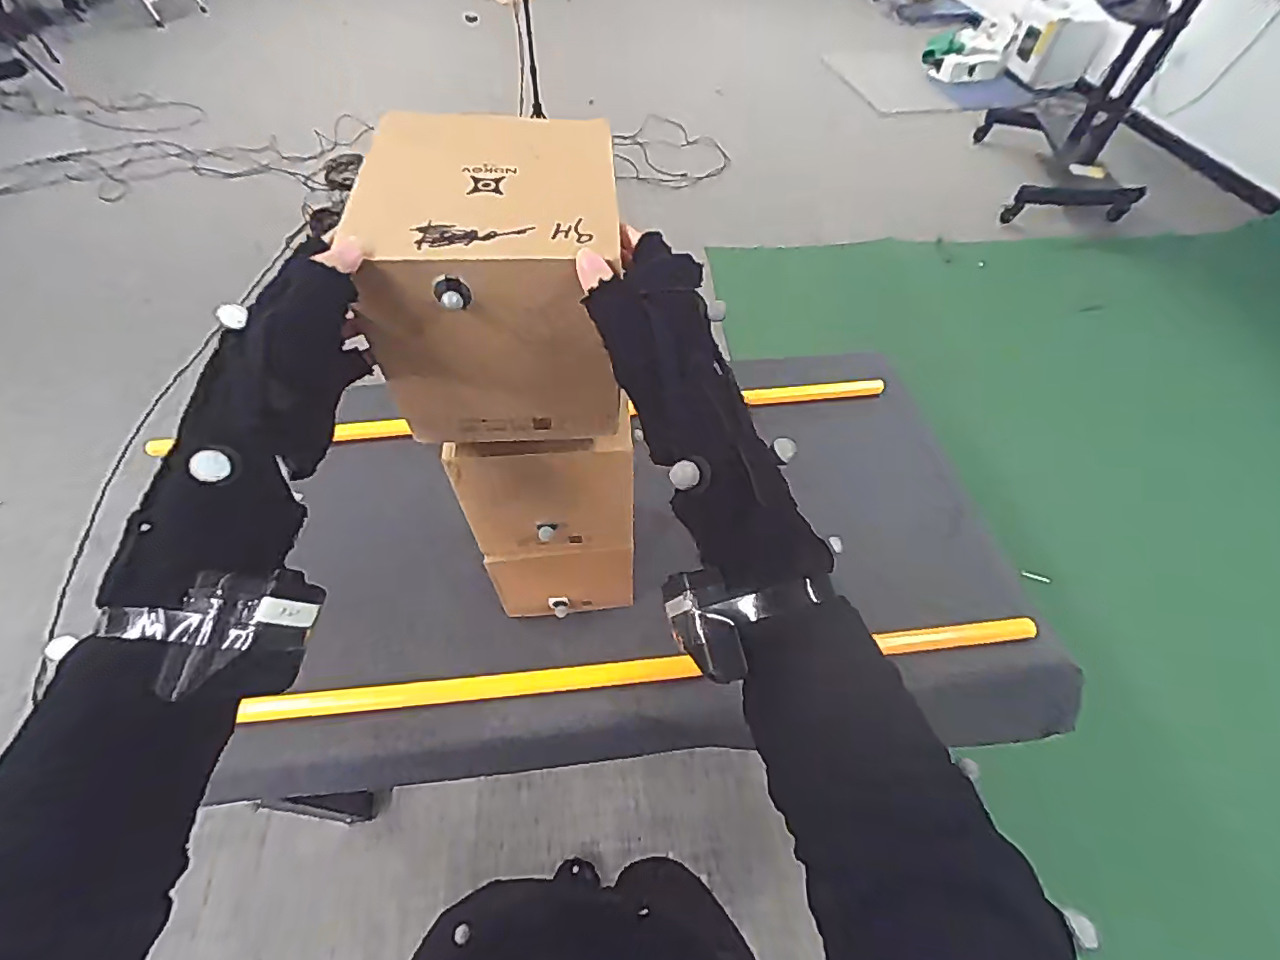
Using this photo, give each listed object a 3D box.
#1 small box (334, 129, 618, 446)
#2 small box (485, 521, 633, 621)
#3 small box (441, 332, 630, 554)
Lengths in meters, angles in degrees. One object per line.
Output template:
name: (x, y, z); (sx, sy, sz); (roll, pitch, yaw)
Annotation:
small box: (-0.104, -0.146, 0.427); (0.168, 0.176, 0.179); (-2, 55, -4)
small box: (-0.102, 0.064, 0.711); (0.168, 0.176, 0.179); (-6, 55, -5)
small box: (-0.098, -0.038, 0.582); (0.168, 0.176, 0.179); (-3, 54, -3)
